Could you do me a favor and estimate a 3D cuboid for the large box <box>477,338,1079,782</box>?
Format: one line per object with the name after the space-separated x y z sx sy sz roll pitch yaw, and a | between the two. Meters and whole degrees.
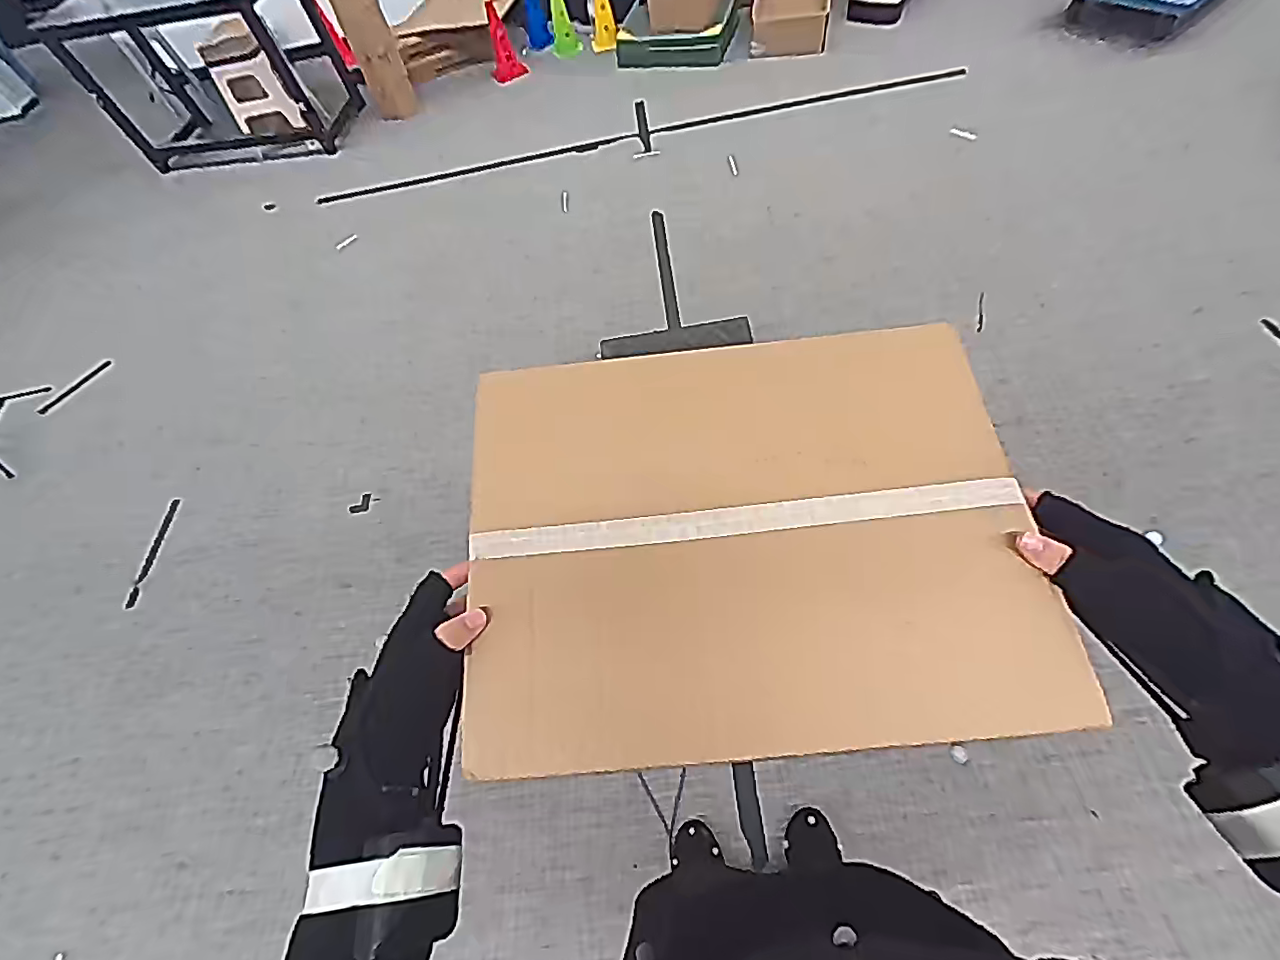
0.087 0.095 0.546 0.408 0.320 0.320 -6 66 1 | large box
